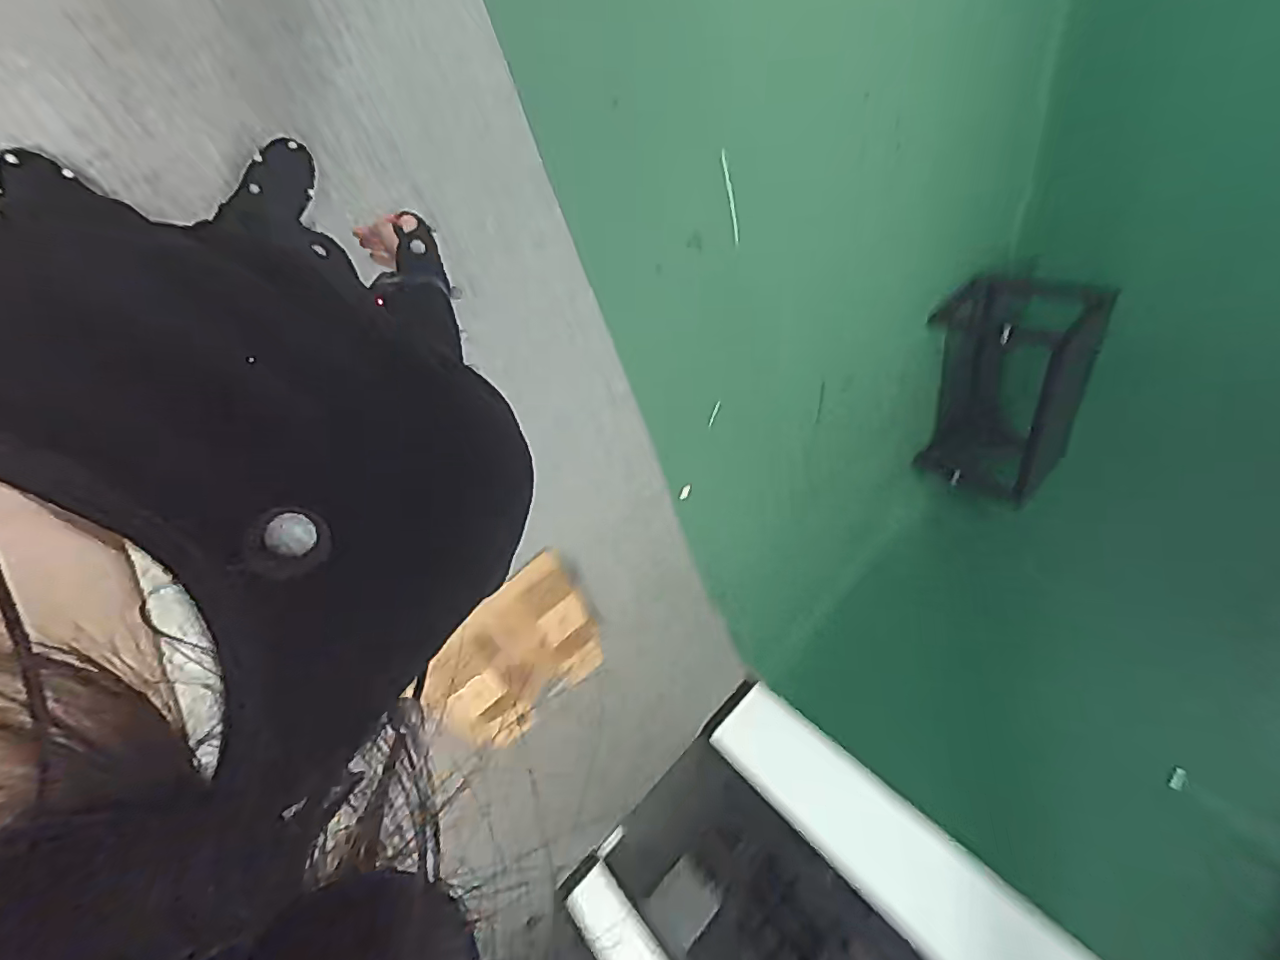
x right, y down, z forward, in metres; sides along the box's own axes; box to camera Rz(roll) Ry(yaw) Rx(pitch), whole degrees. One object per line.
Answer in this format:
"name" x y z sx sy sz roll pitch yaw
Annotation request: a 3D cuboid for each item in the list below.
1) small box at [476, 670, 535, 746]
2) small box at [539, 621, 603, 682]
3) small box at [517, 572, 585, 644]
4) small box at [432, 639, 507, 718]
"small box" -0.535 0.875 2.094 0.179 0.176 0.168 -26 129 -28
"small box" -0.283 0.681 2.220 0.179 0.176 0.168 -35 133 -23
"small box" -0.340 0.474 2.045 0.168 0.176 0.179 -36 134 -21
"small box" -0.610 0.698 1.923 0.168 0.176 0.179 -37 134 -21
